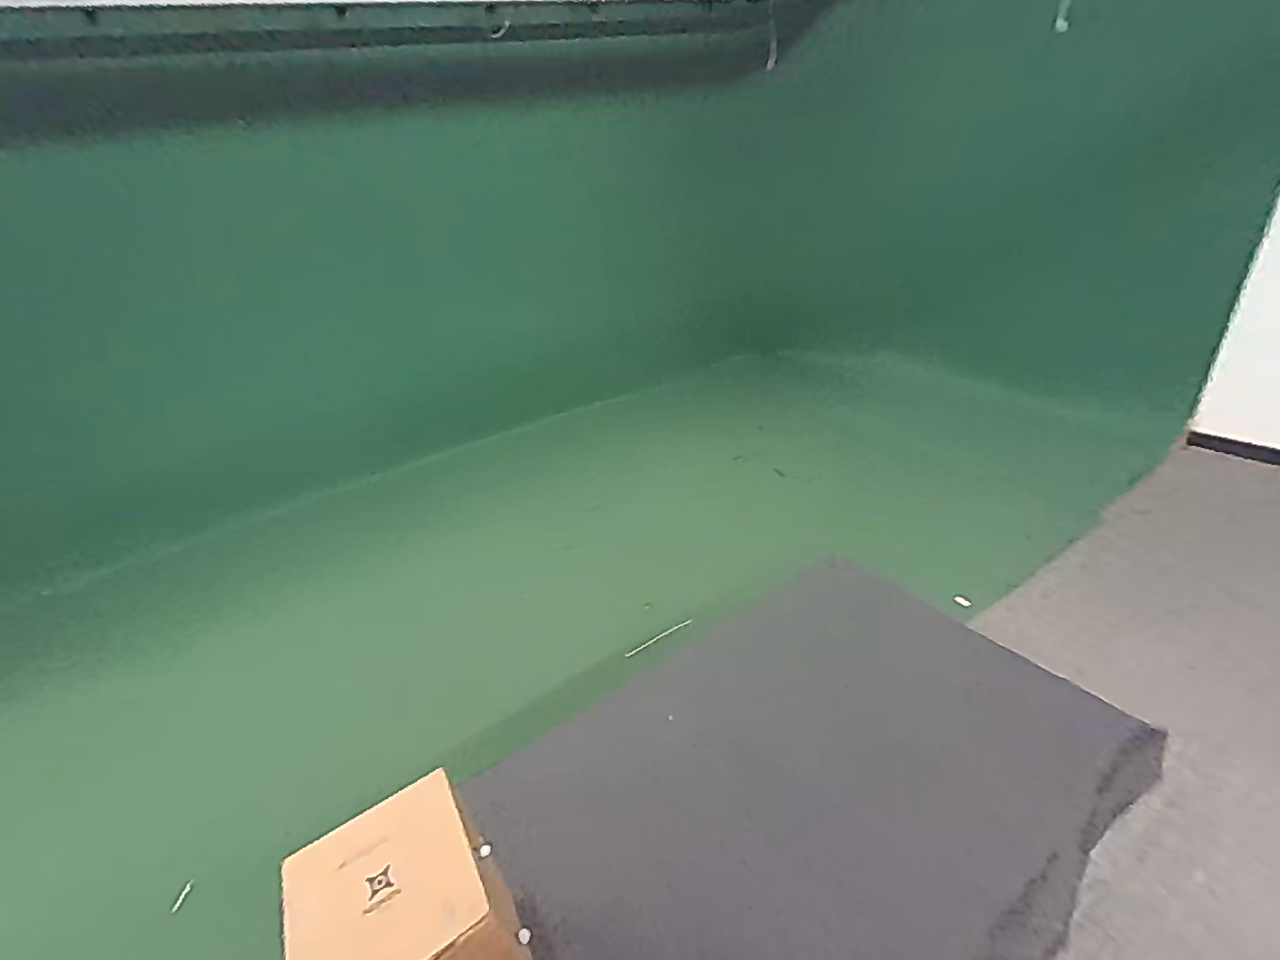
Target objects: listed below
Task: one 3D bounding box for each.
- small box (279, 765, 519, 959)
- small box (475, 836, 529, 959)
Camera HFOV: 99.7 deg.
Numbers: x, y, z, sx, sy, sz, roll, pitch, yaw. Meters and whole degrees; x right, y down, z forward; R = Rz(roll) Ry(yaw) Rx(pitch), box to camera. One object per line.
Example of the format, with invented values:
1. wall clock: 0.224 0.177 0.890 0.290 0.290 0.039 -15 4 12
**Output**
1. small box: -0.239 0.447 0.549 0.168 0.176 0.179 -22 31 -26
2. small box: -0.226 0.584 0.637 0.168 0.176 0.179 -22 32 -23
